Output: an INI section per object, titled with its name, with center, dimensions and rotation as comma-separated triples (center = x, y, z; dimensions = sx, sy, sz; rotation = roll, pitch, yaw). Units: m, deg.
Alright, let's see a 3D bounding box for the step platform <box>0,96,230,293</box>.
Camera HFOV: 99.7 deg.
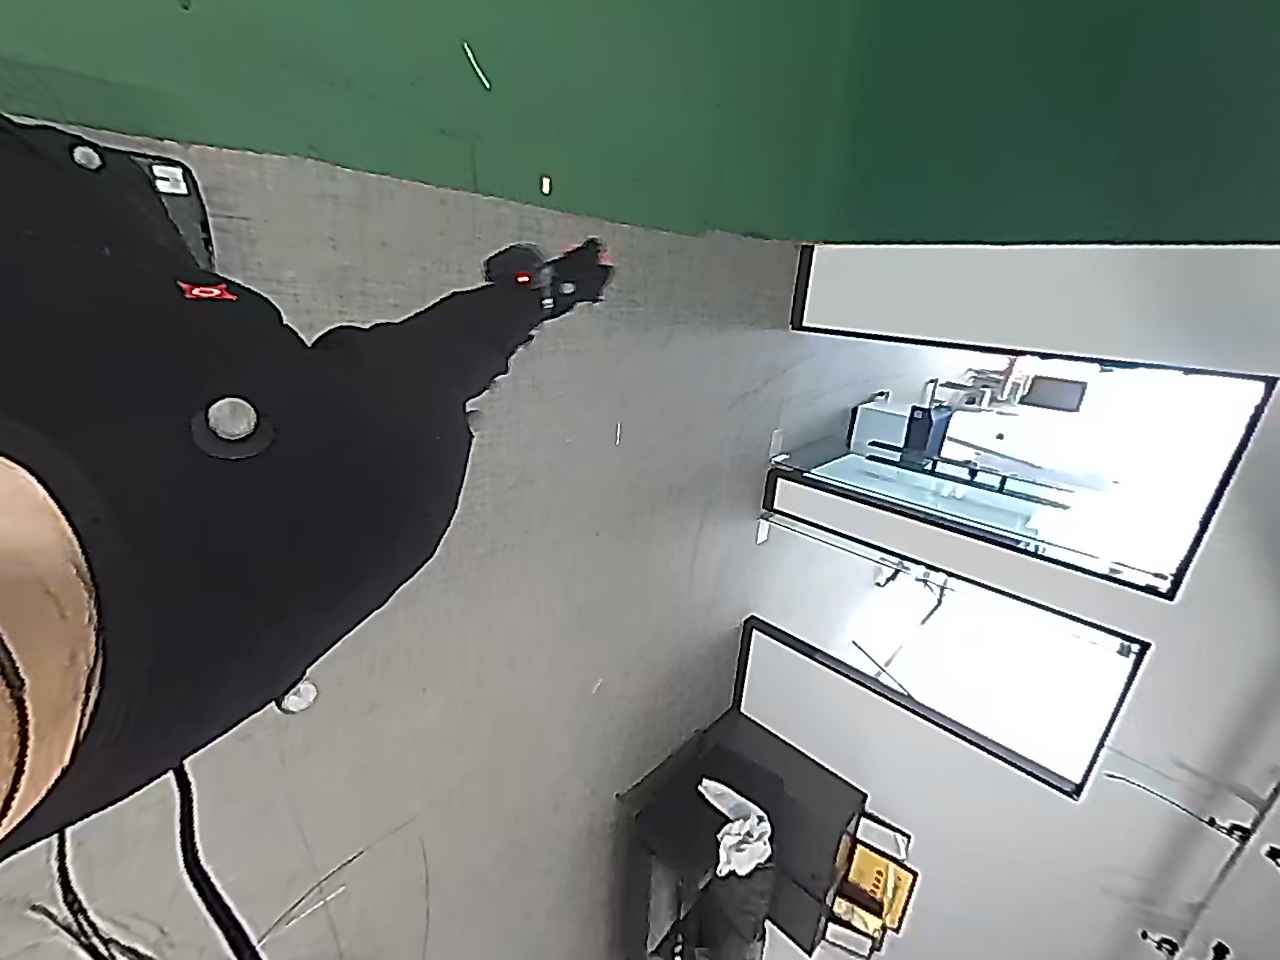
[step platform]
center = -1.059, -0.446, 0.813
dimensions = 0.684, 0.204, 0.286
rotation = -16, 119, -43
